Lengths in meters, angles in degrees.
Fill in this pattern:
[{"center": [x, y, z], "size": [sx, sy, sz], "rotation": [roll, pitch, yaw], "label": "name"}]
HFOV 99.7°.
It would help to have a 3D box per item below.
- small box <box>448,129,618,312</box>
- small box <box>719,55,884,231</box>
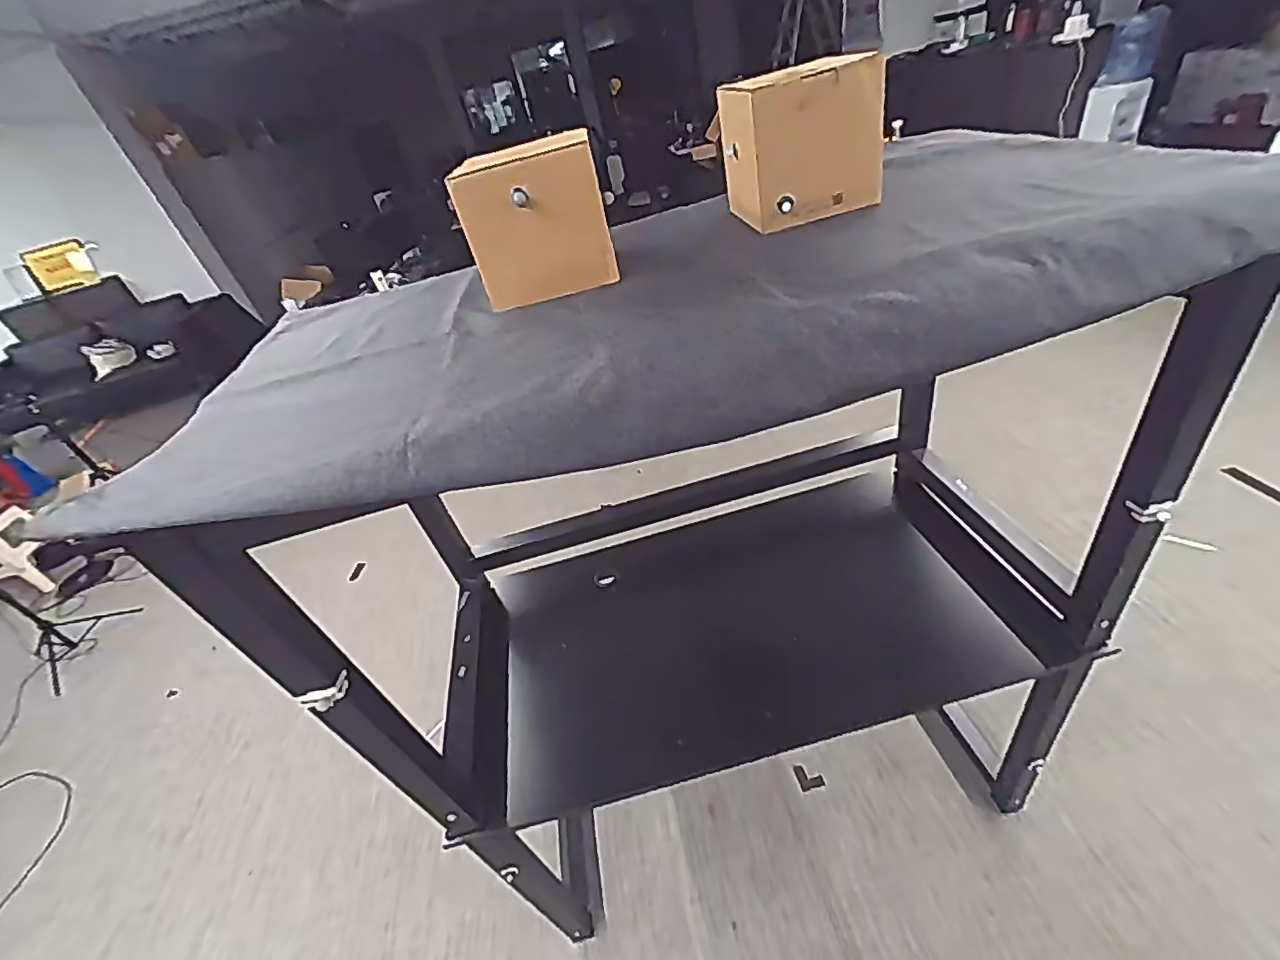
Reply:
[{"center": [-0.130, -0.351, 0.734], "size": [0.179, 0.176, 0.168], "rotation": [-13, 37, 4], "label": "small box"}, {"center": [0.219, -0.462, 0.752], "size": [0.168, 0.176, 0.179], "rotation": [-14, 36, 2], "label": "small box"}]
